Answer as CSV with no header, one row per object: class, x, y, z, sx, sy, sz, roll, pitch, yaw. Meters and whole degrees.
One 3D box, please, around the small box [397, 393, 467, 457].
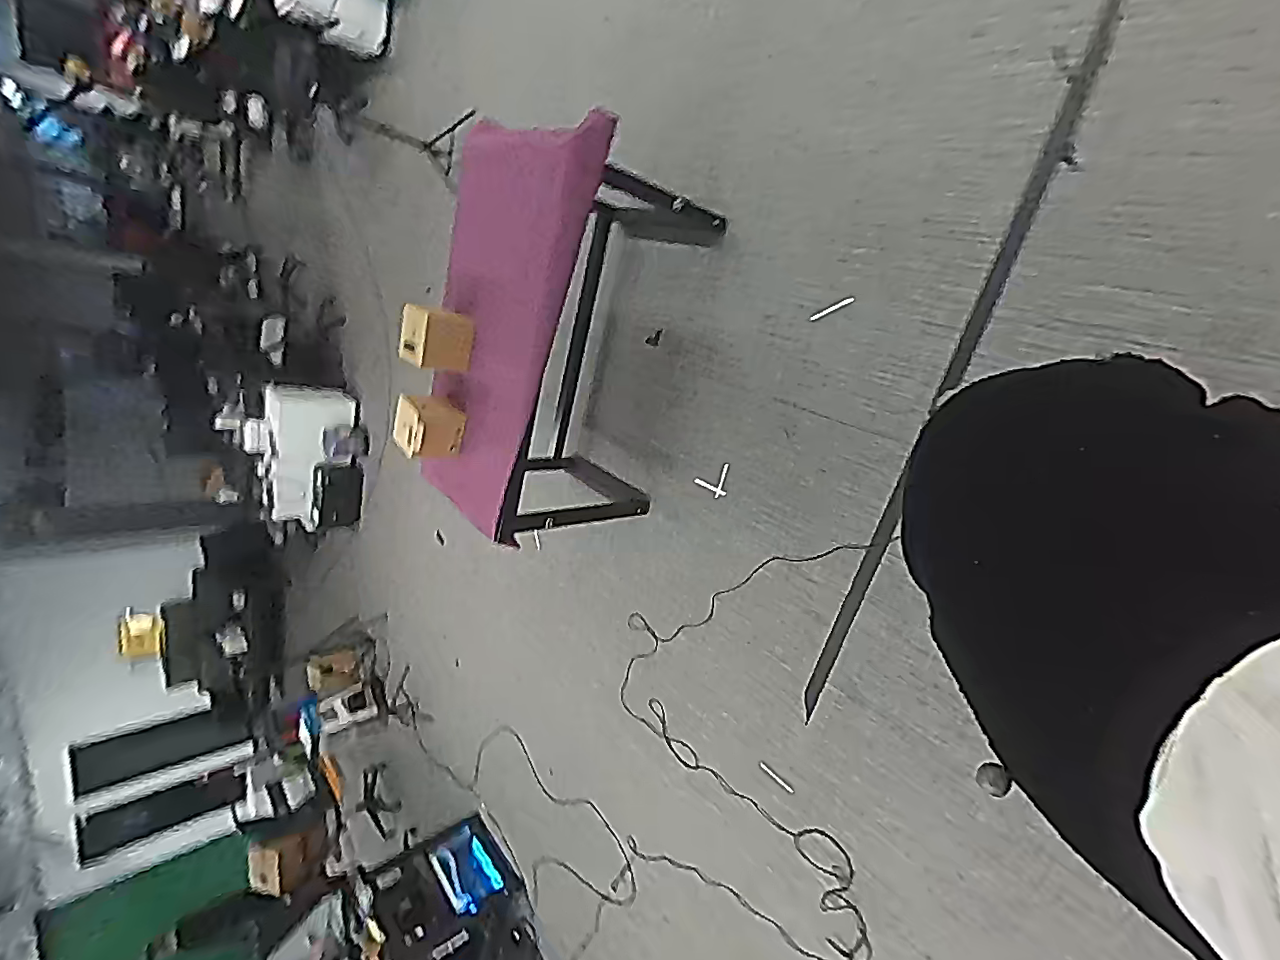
small box,-0.728,-0.195,1.897,0.179,0.176,0.168,37,118,36
